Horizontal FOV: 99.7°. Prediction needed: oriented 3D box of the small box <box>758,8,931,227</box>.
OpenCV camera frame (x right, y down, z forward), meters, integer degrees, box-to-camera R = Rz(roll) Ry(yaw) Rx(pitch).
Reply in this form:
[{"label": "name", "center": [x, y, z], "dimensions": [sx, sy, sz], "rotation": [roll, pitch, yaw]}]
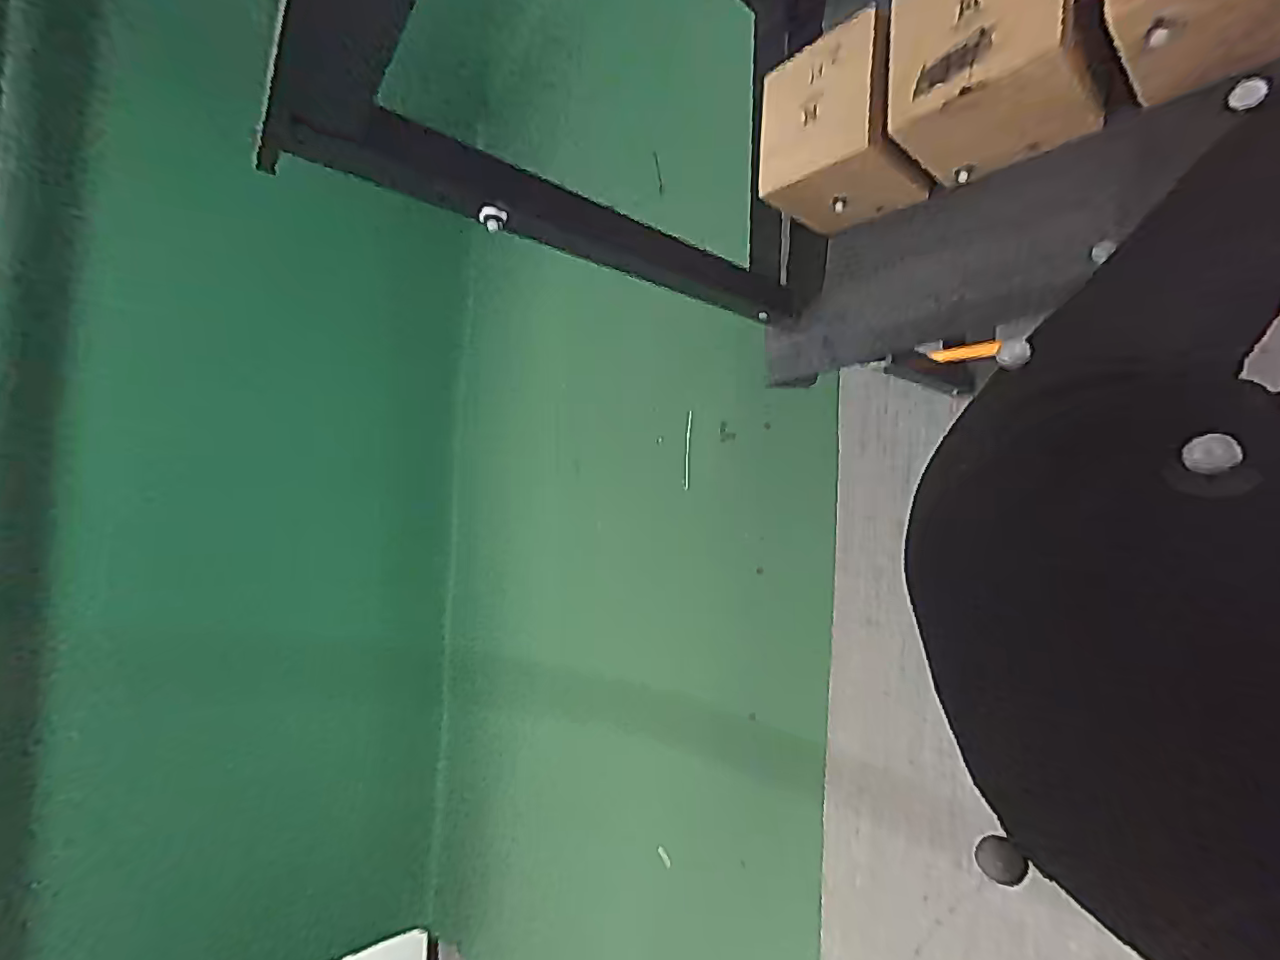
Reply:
[{"label": "small box", "center": [0.285, -0.477, 0.754], "dimensions": [0.168, 0.176, 0.179], "rotation": [4, 90, 50]}]
